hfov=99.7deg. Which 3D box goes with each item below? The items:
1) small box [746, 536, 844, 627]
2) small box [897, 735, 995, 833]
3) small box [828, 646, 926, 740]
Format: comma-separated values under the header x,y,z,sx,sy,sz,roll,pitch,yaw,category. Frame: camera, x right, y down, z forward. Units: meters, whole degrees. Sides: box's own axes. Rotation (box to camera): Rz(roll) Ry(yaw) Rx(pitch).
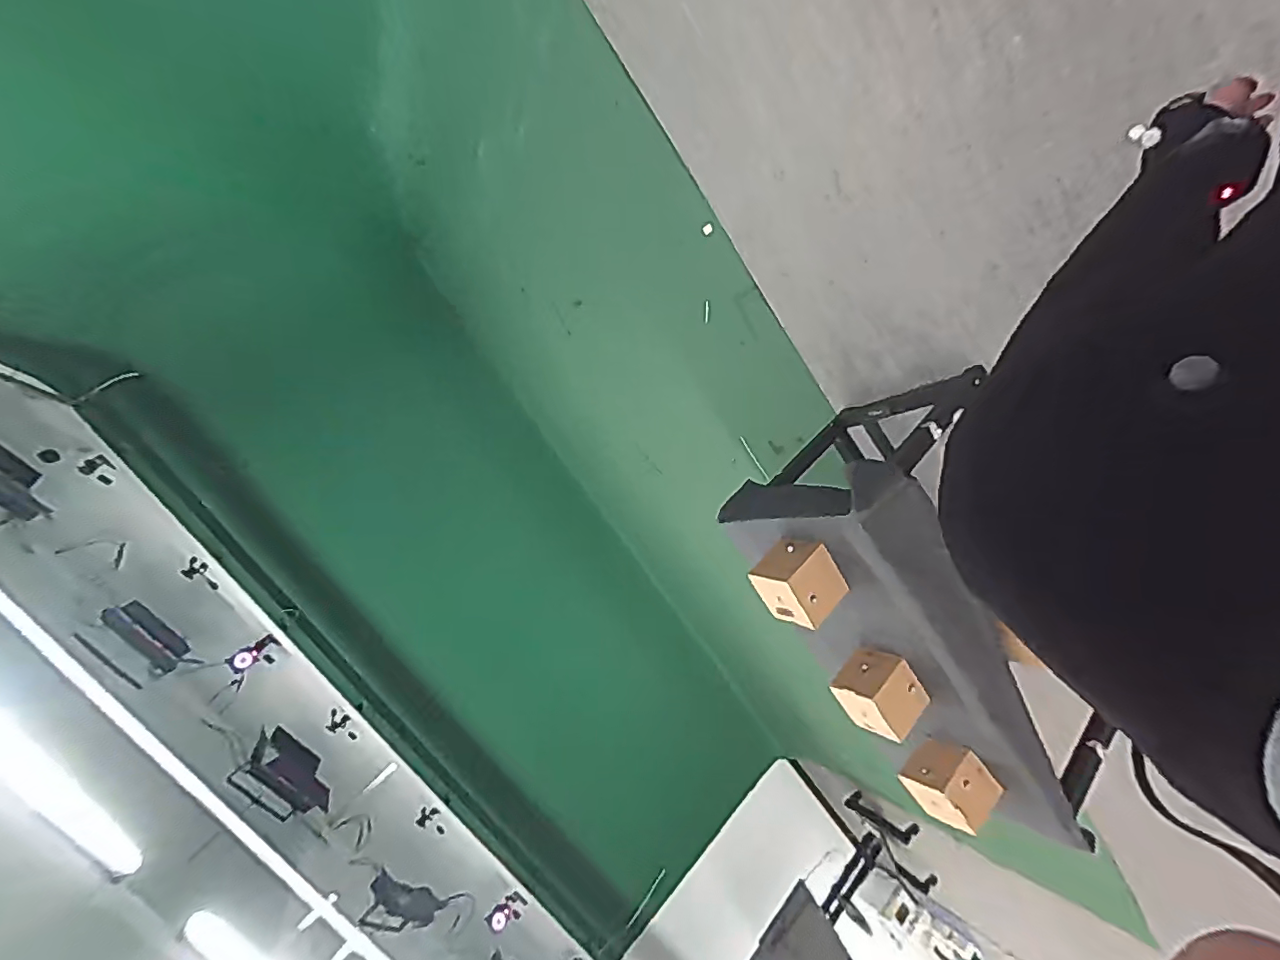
x,y,z,sx,sy,sz,roll,pitch,yaw,category
0.446,0.284,1.544,0.179,0.176,0.168,57,156,-16,small box
0.934,0.911,1.642,0.168,0.176,0.179,52,160,-2,small box
0.706,0.623,1.607,0.179,0.176,0.168,55,157,-12,small box
